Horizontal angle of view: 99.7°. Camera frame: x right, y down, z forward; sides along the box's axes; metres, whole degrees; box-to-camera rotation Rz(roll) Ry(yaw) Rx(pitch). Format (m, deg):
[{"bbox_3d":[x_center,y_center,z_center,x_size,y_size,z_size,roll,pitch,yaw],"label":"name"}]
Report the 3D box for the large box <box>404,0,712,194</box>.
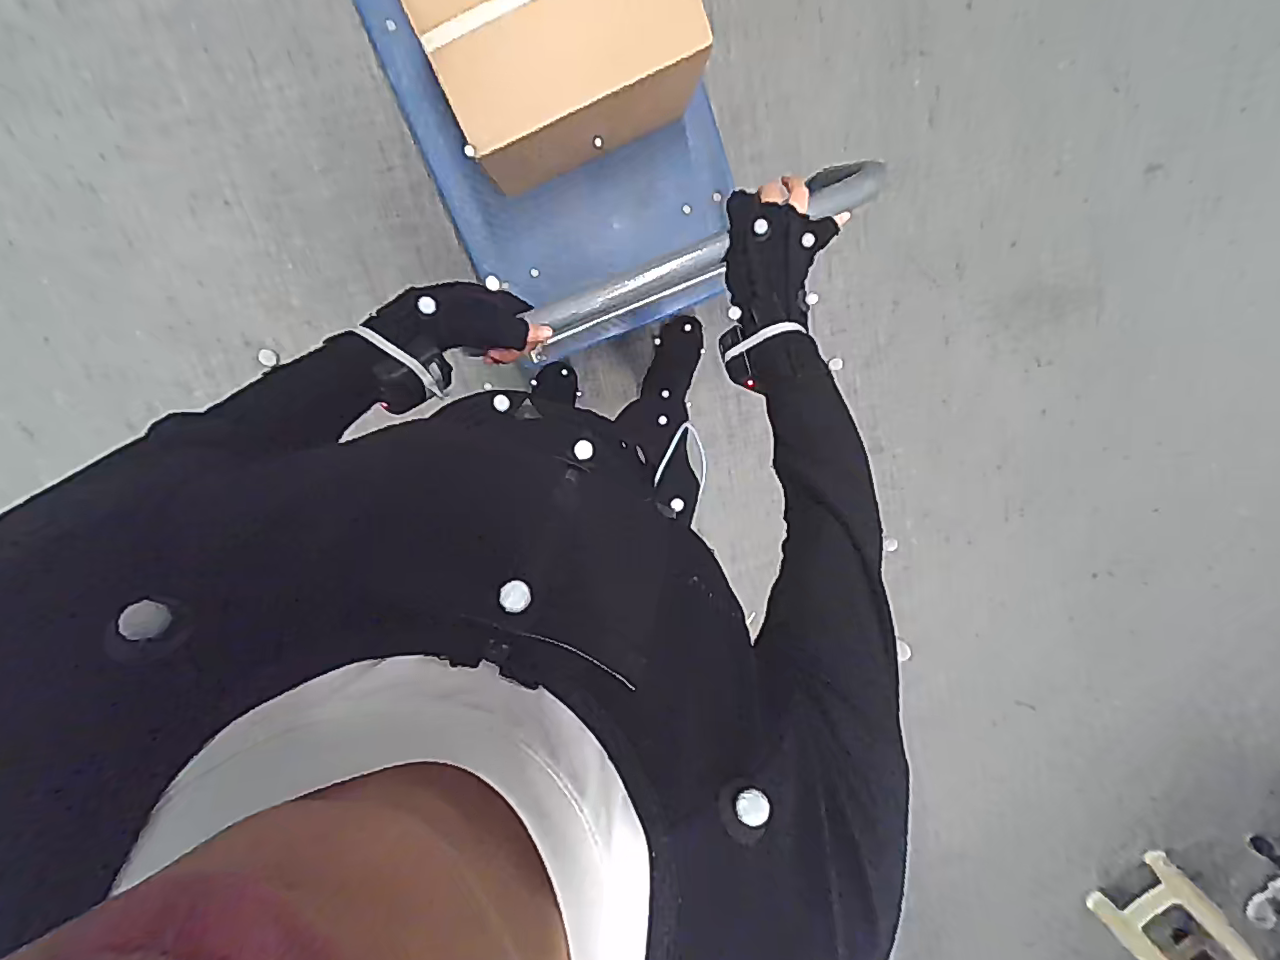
[{"bbox_3d":[-0.140,-0.756,0.926,0.408,0.320,0.320,-24,107,3],"label":"large box"}]
